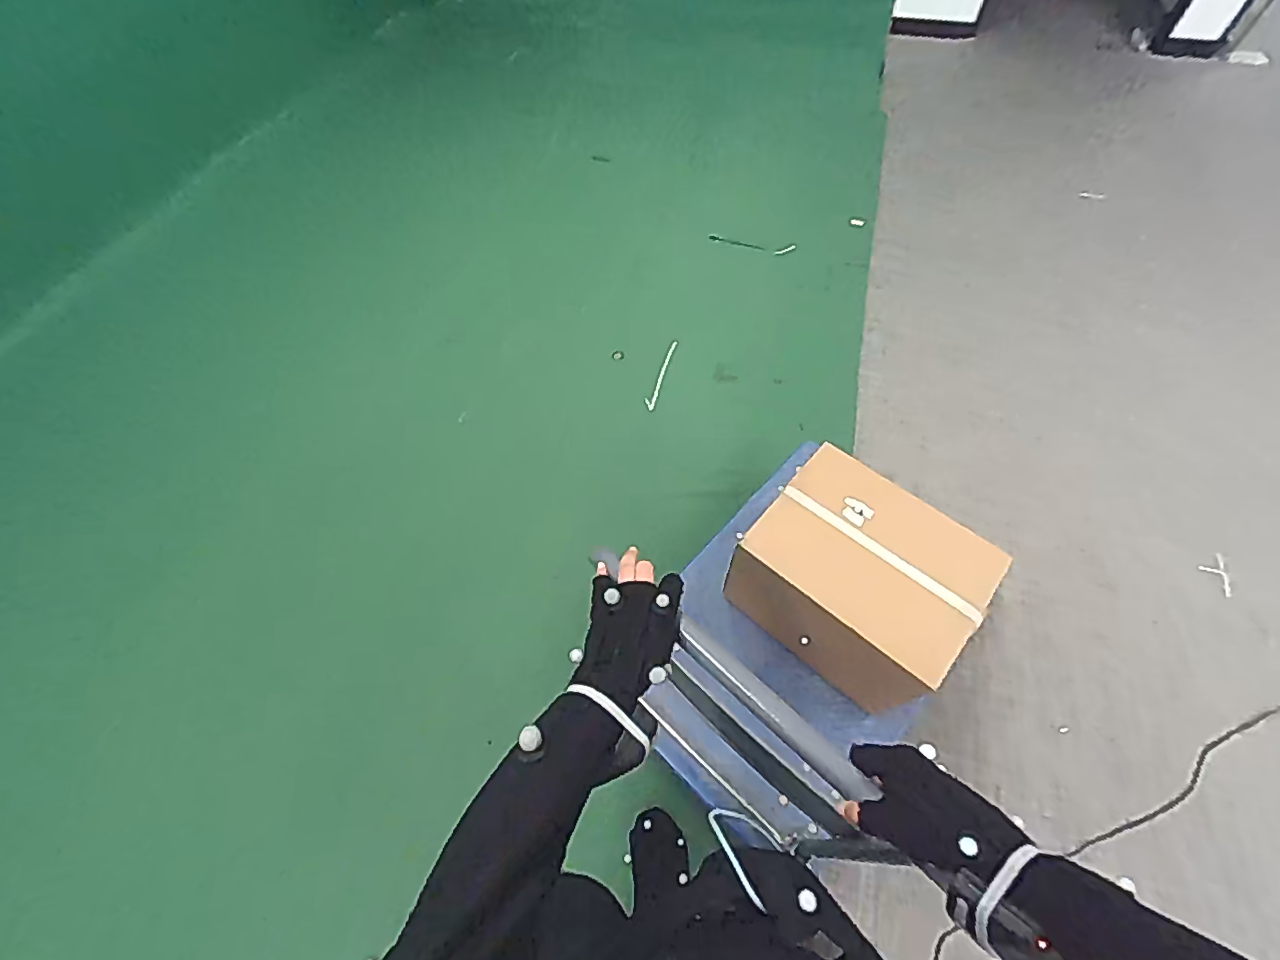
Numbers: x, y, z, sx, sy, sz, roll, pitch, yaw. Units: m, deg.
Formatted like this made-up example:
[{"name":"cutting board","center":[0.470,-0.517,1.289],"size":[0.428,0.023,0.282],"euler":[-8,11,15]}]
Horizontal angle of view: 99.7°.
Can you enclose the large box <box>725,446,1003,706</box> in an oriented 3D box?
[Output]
[{"name":"large box","center":[0.440,0.208,1.153],"size":[0.408,0.320,0.320],"euler":[37,67,22]}]
